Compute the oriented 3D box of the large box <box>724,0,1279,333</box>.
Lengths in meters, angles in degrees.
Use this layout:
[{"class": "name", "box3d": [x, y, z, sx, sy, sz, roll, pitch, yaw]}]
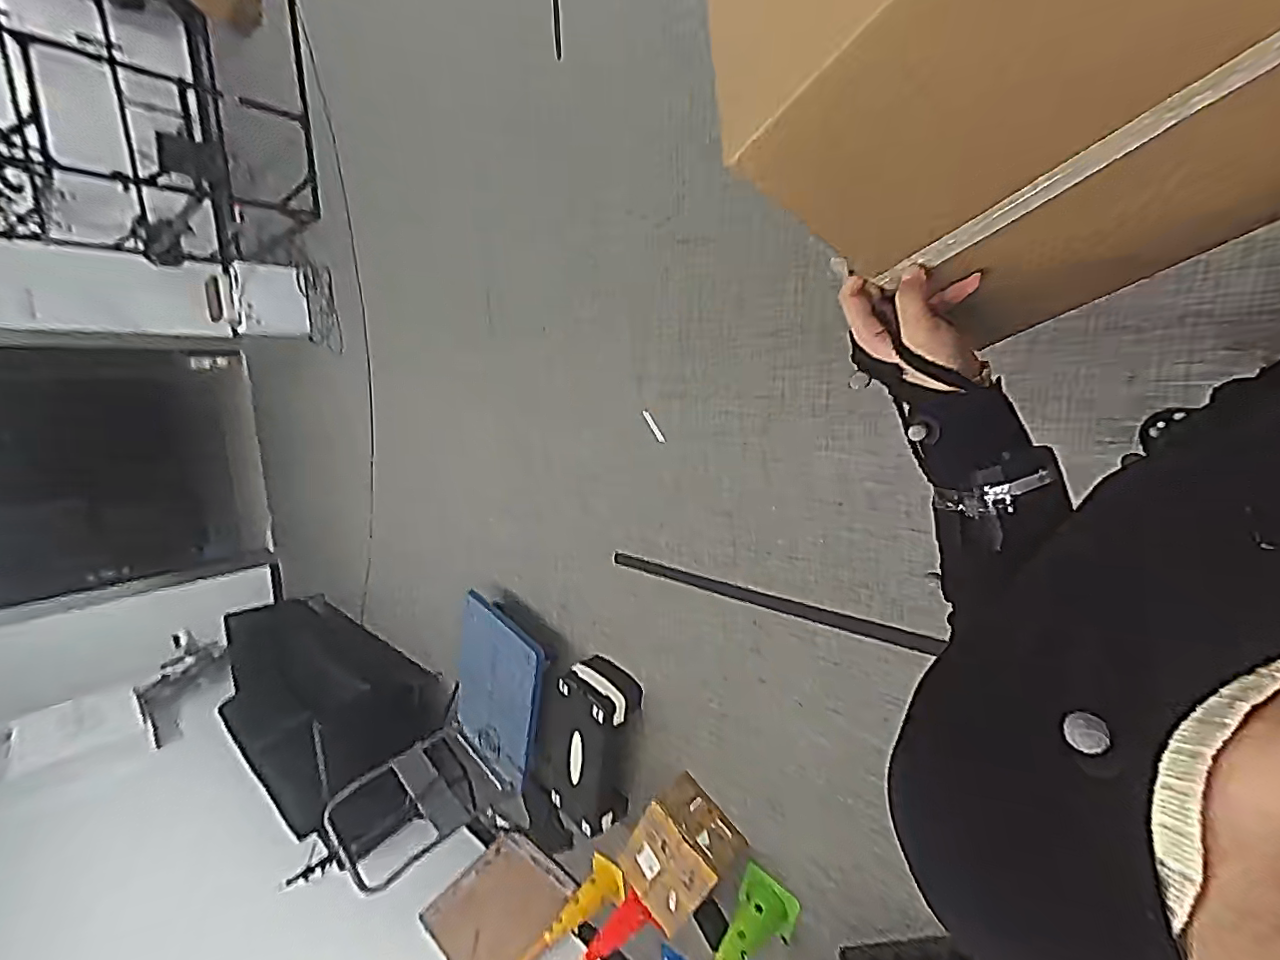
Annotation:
[{"class": "large box", "box3d": [0.289, -0.353, 0.292, 0.408, 0.320, 0.320, -25, 60, 49]}]
